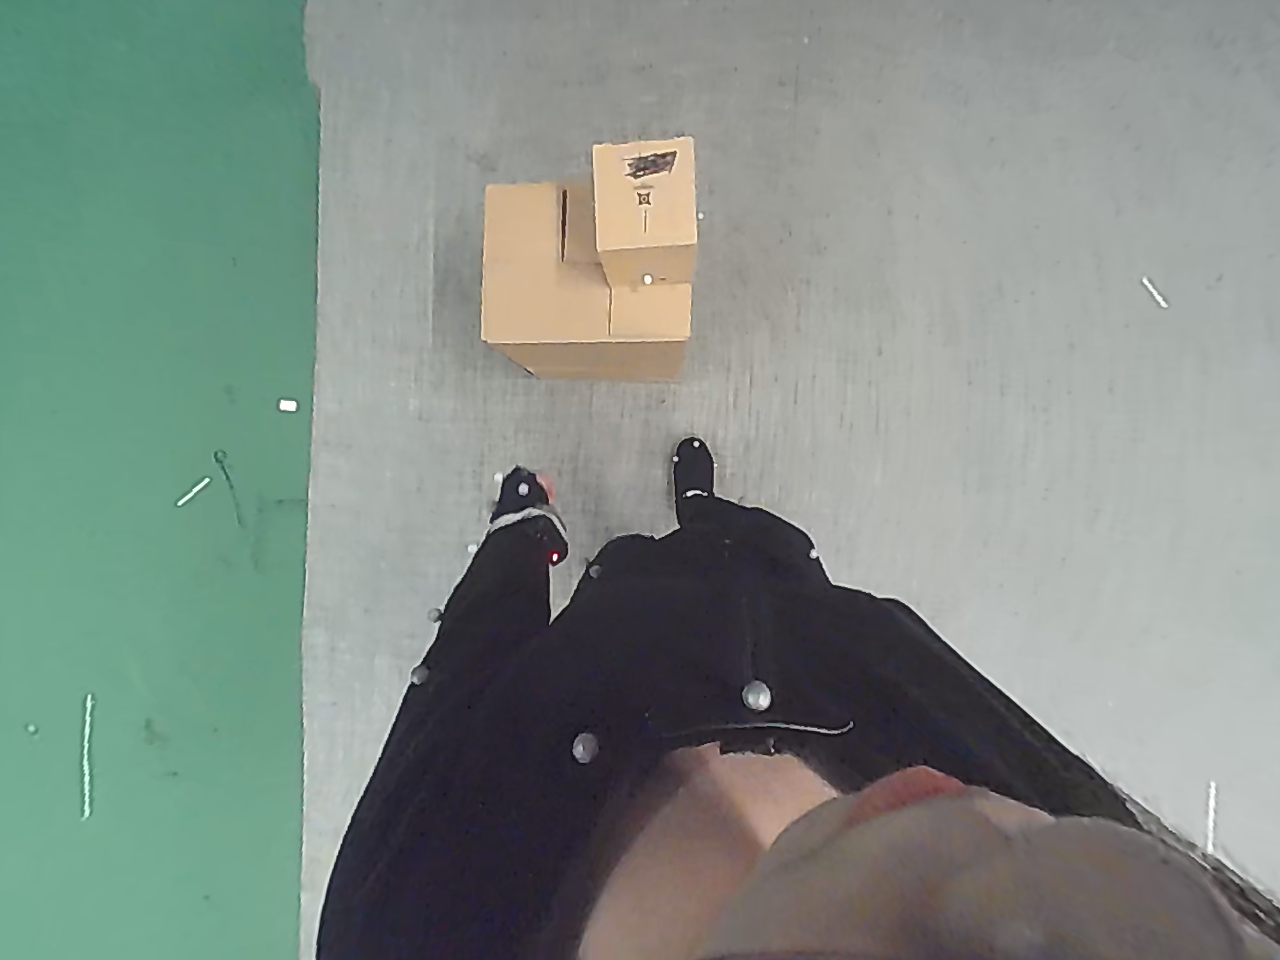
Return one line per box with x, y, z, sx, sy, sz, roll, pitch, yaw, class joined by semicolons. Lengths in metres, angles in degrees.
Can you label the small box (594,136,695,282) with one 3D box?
0.011;-0.469;0.956;0.168;0.176;0.179;-1;92;5;small box
